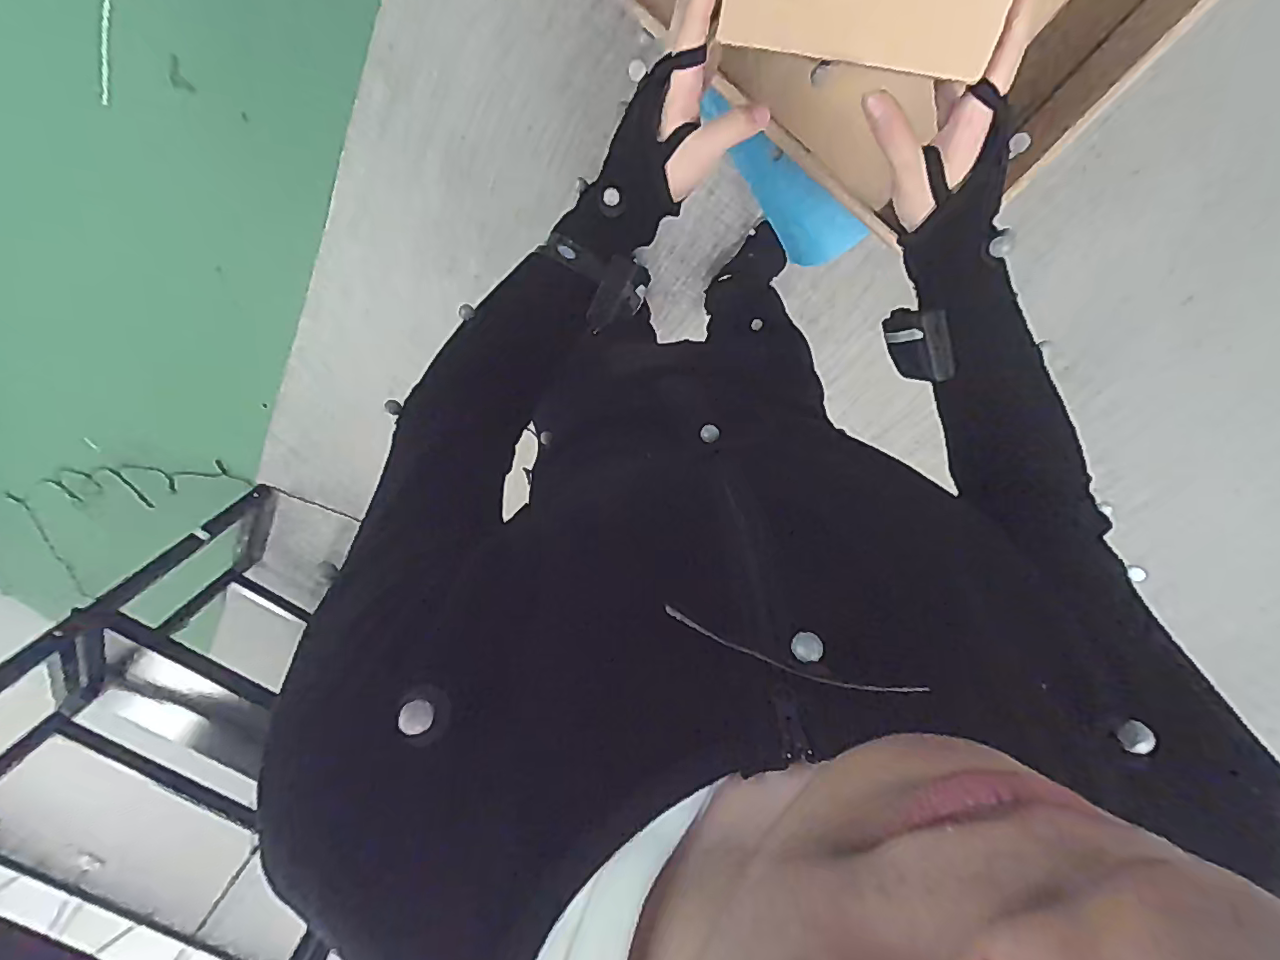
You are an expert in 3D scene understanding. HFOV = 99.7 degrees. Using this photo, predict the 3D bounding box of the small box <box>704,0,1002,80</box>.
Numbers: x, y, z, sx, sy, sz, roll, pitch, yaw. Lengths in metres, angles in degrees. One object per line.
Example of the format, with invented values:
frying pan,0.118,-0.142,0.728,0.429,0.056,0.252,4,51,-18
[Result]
small box,0.148,-0.383,0.358,0.179,0.176,0.168,11,131,3
